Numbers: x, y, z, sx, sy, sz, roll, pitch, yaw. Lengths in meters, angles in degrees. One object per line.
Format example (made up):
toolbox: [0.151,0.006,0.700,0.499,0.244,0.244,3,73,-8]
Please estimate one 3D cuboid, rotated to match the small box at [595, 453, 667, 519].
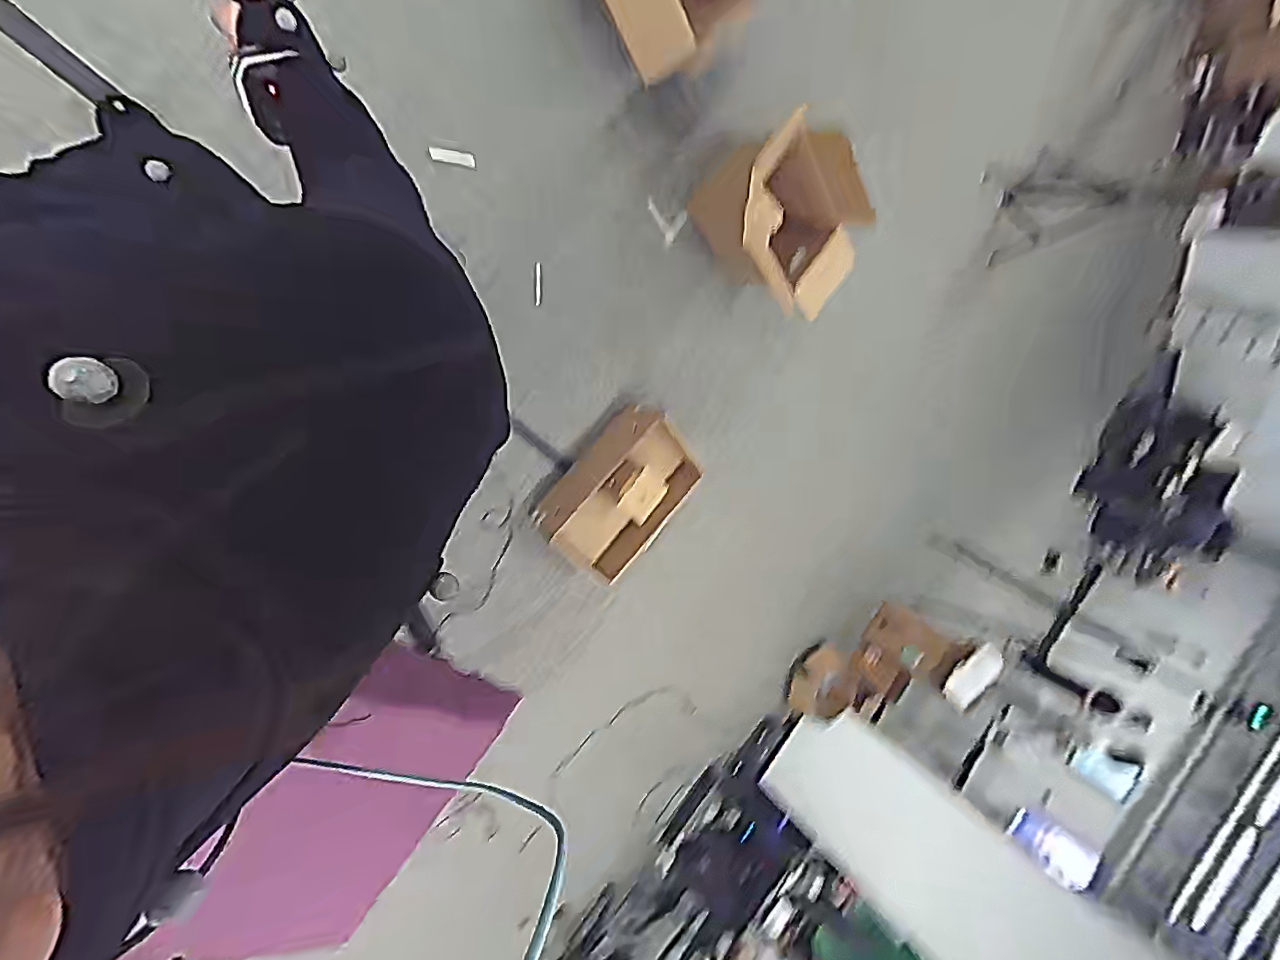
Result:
small box: [-0.038,0.015,2.061,0.168,0.176,0.179,-52,135,-3]
